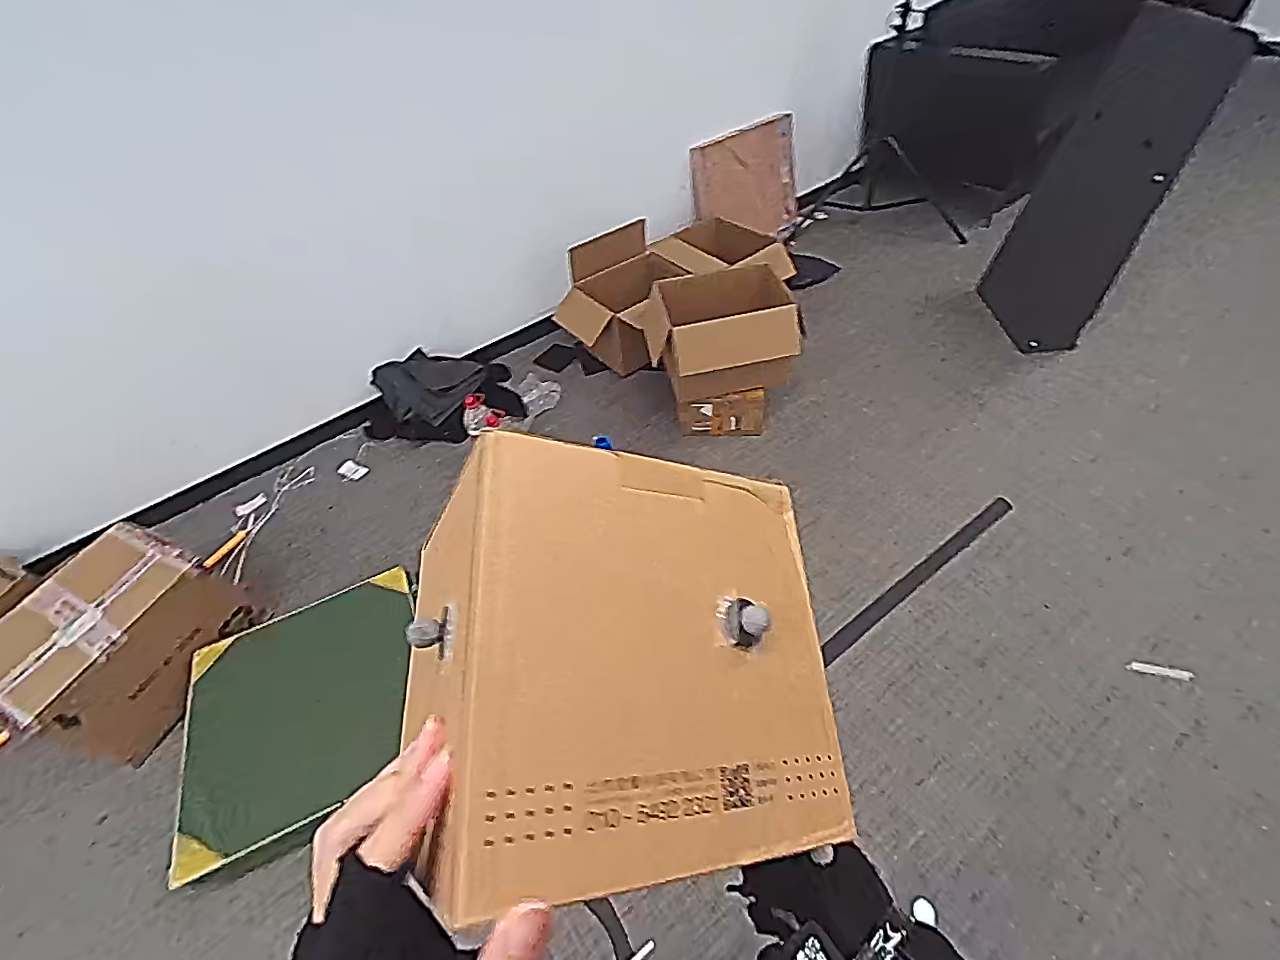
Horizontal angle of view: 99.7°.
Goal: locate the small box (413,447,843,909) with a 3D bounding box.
[{"bbox_3d":[-0.020,0.104,0.292,0.168,0.179,0.176,9,63,-24],"label":"small box"}]
